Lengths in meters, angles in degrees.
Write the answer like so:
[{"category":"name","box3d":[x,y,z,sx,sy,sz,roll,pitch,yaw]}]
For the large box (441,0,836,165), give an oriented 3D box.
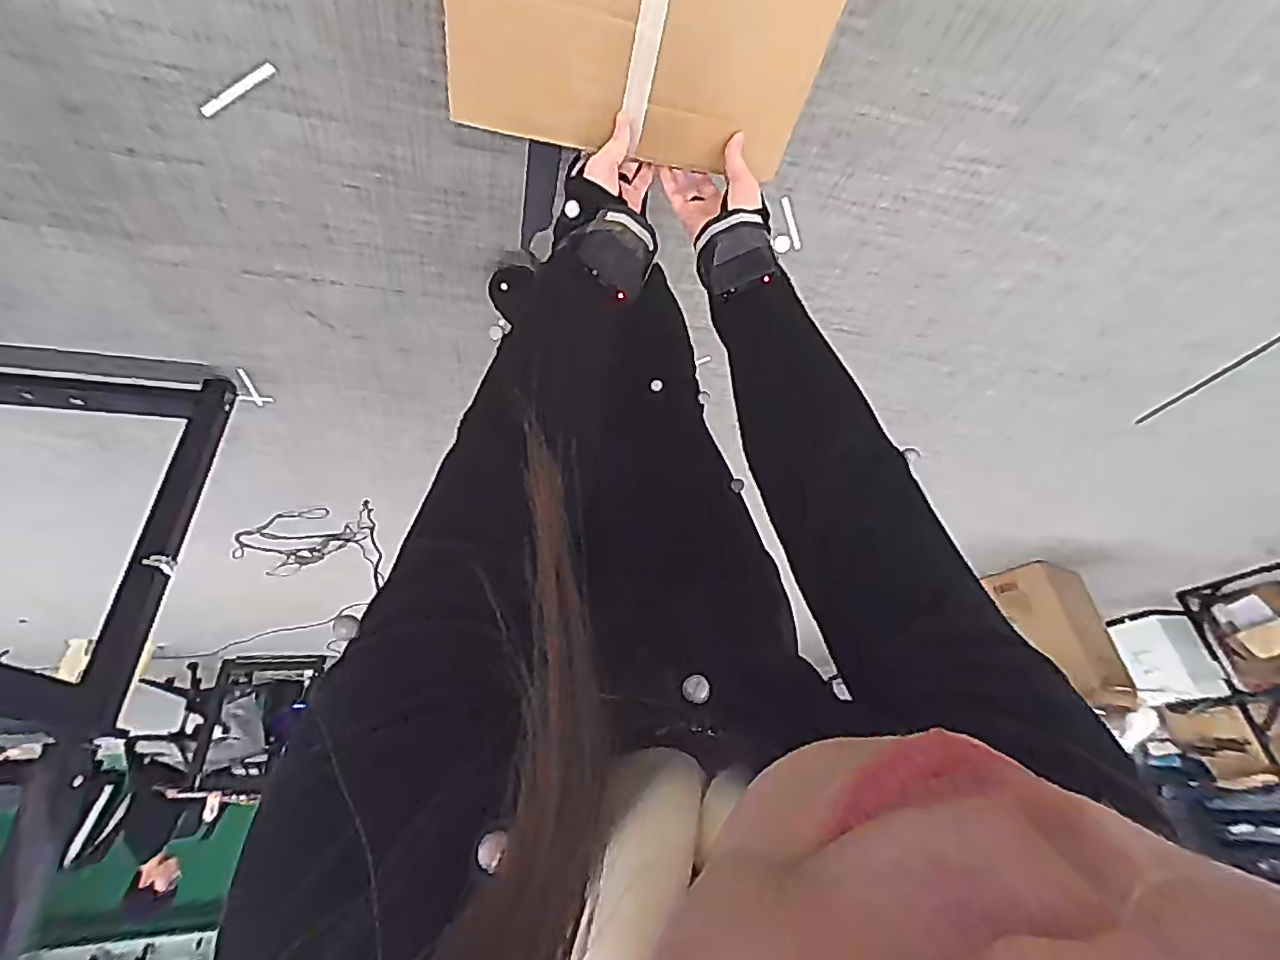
[{"category":"large box","box3d":[0.010,-0.553,0.437,0.320,0.320,0.408,2,143,-14]}]
